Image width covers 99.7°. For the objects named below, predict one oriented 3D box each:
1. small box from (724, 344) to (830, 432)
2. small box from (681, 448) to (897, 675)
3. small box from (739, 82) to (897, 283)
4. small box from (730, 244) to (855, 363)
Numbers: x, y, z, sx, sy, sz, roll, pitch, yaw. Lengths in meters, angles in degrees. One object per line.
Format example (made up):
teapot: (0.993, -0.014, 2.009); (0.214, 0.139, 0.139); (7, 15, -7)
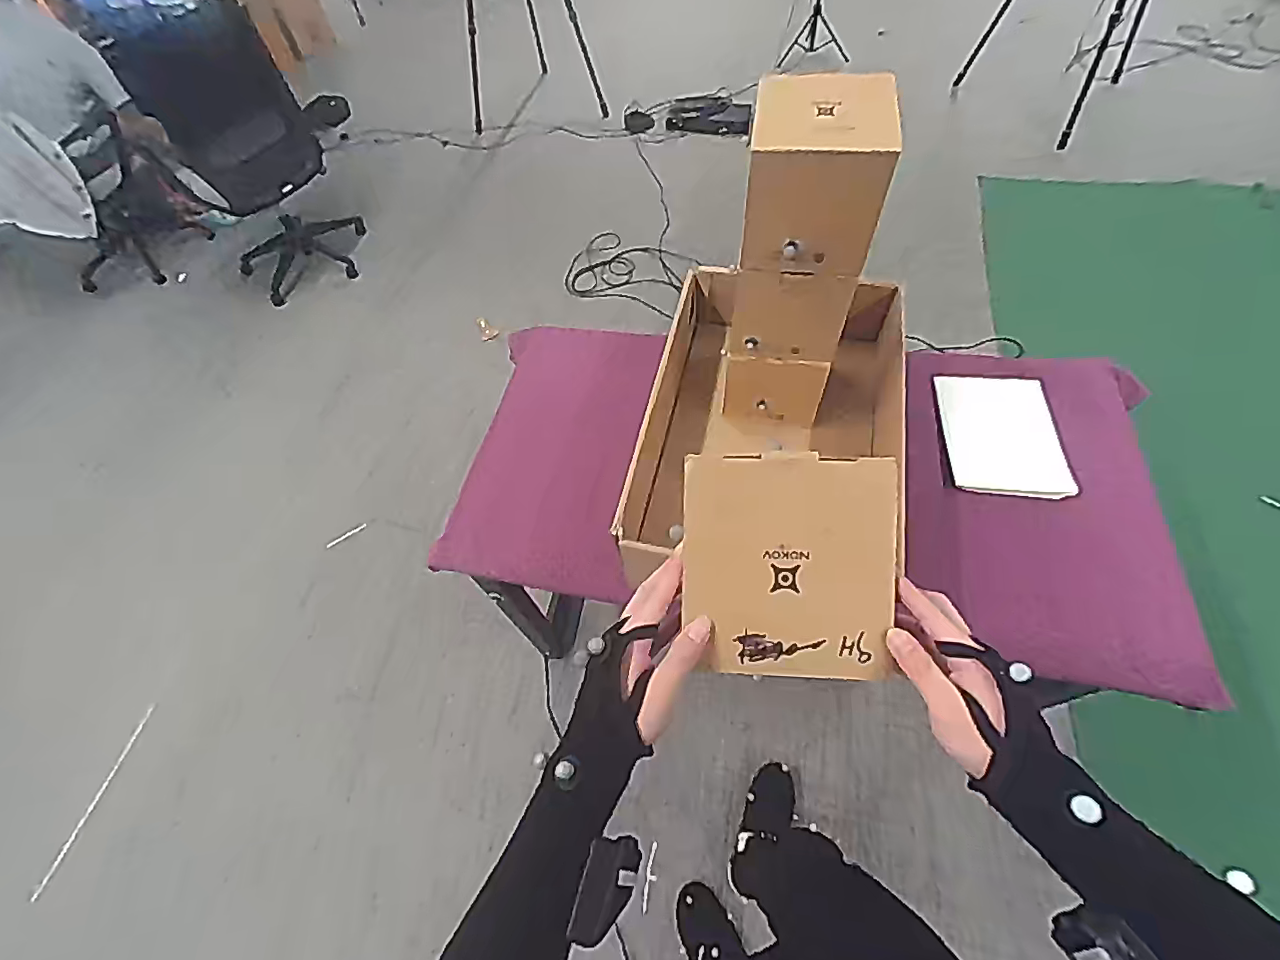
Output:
small box: (0.247, -0.214, 0.989); (0.168, 0.176, 0.179); (7, 60, 10)
small box: (0.124, 0.063, 0.509); (0.168, 0.176, 0.179); (2, 91, 6)
small box: (0.224, -0.390, 0.714); (0.168, 0.176, 0.179); (7, 60, 10)
small box: (0.235, -0.306, 0.853); (0.168, 0.176, 0.179); (7, 59, 9)
